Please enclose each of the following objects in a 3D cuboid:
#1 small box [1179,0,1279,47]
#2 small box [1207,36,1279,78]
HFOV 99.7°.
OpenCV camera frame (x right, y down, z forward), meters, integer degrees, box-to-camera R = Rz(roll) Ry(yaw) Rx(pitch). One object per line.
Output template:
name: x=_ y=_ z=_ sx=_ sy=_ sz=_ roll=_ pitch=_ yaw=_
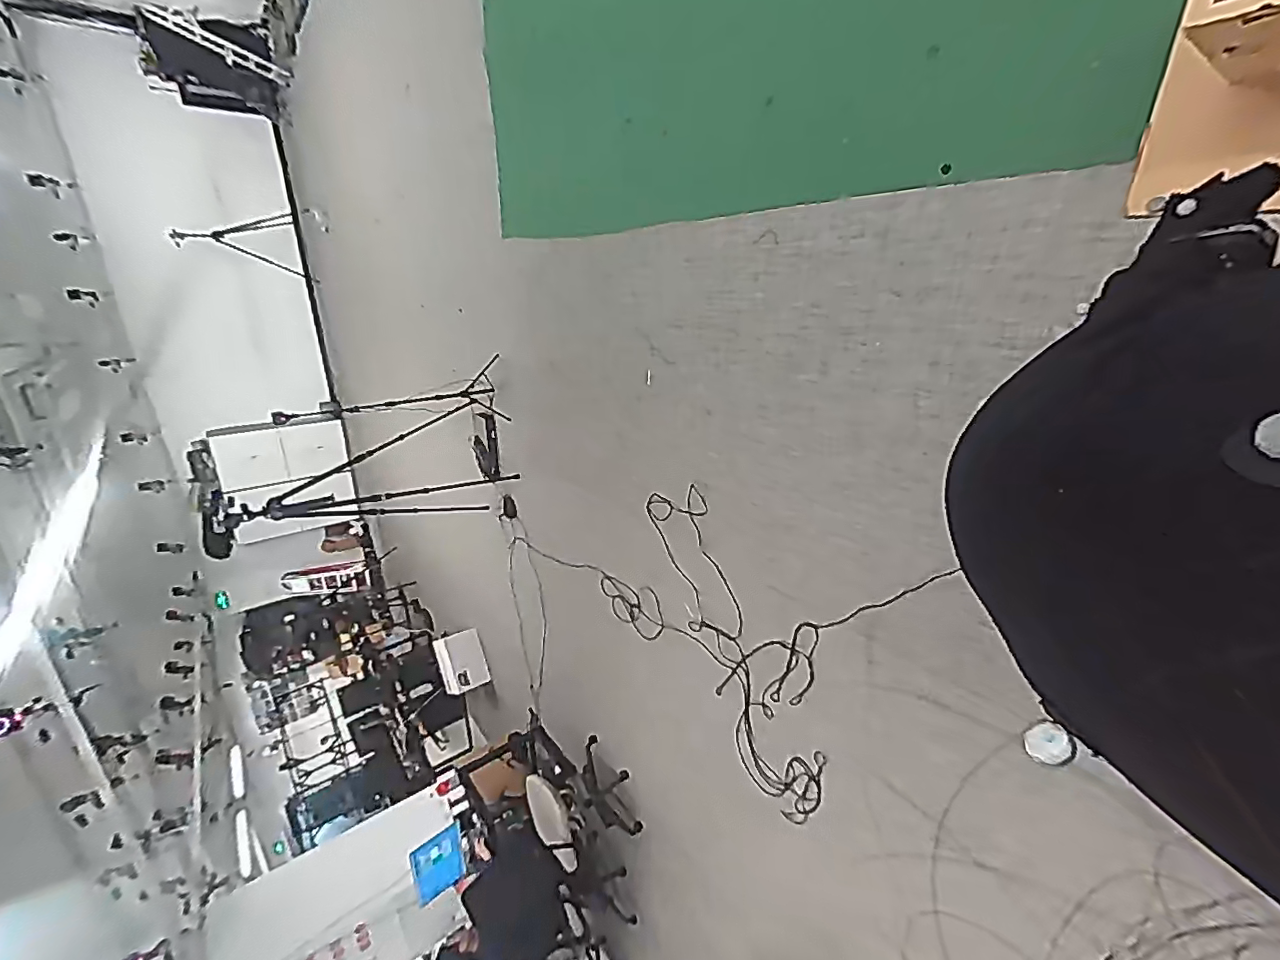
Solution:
small box: x=0.868 y=-0.702 z=0.709 sx=0.168 sy=0.176 sz=0.179 roll=27 pitch=123 yaw=48
small box: x=1.000 y=-0.736 z=0.801 sx=0.168 sy=0.176 sz=0.179 roll=26 pitch=123 yaw=49
